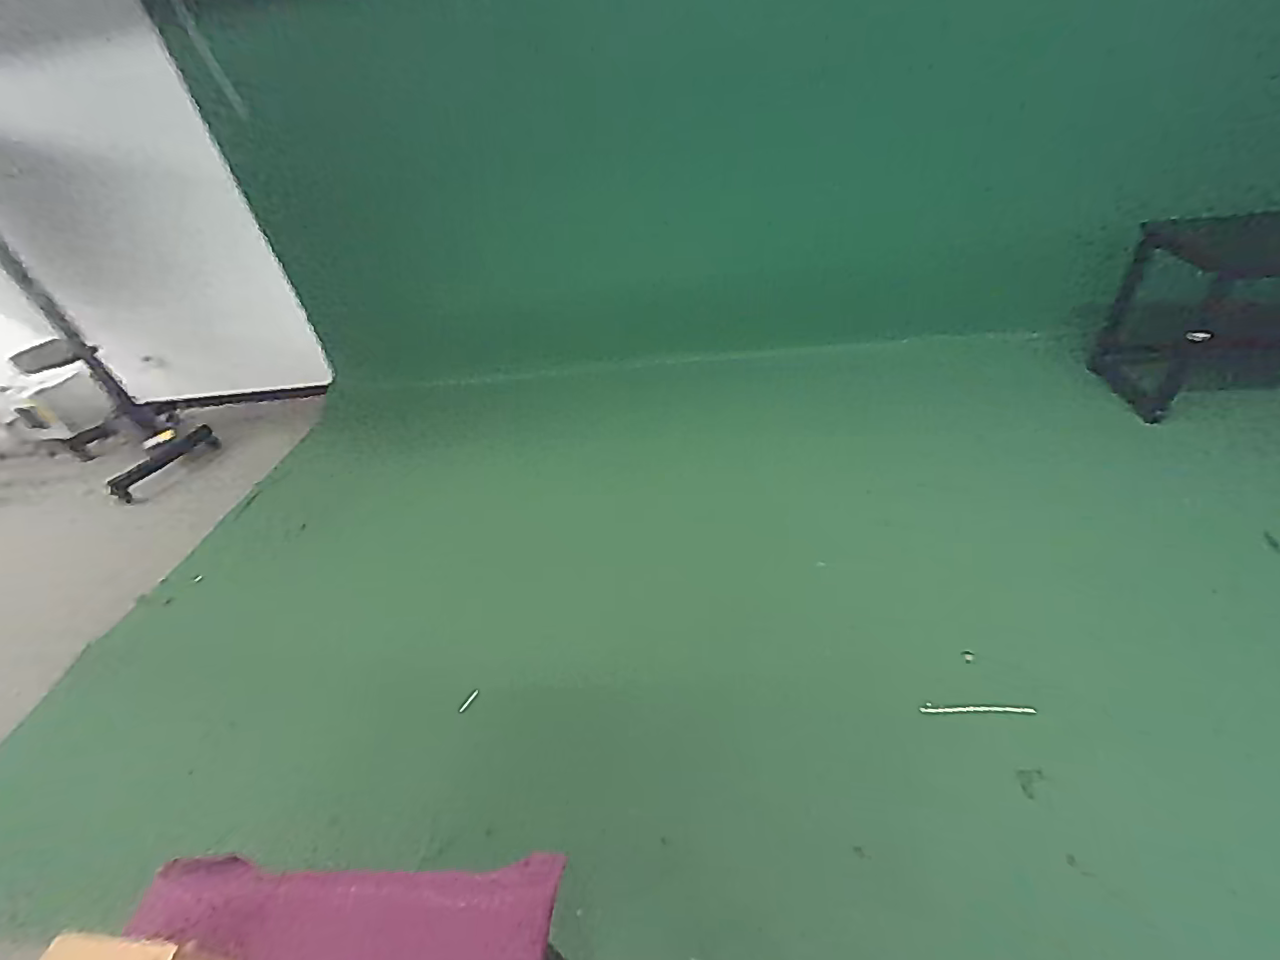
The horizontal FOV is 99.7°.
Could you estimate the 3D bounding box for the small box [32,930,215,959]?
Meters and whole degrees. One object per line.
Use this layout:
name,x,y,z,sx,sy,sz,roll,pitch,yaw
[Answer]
small box,-0.641,0.668,0.644,0.179,0.176,0.168,-1,41,8
